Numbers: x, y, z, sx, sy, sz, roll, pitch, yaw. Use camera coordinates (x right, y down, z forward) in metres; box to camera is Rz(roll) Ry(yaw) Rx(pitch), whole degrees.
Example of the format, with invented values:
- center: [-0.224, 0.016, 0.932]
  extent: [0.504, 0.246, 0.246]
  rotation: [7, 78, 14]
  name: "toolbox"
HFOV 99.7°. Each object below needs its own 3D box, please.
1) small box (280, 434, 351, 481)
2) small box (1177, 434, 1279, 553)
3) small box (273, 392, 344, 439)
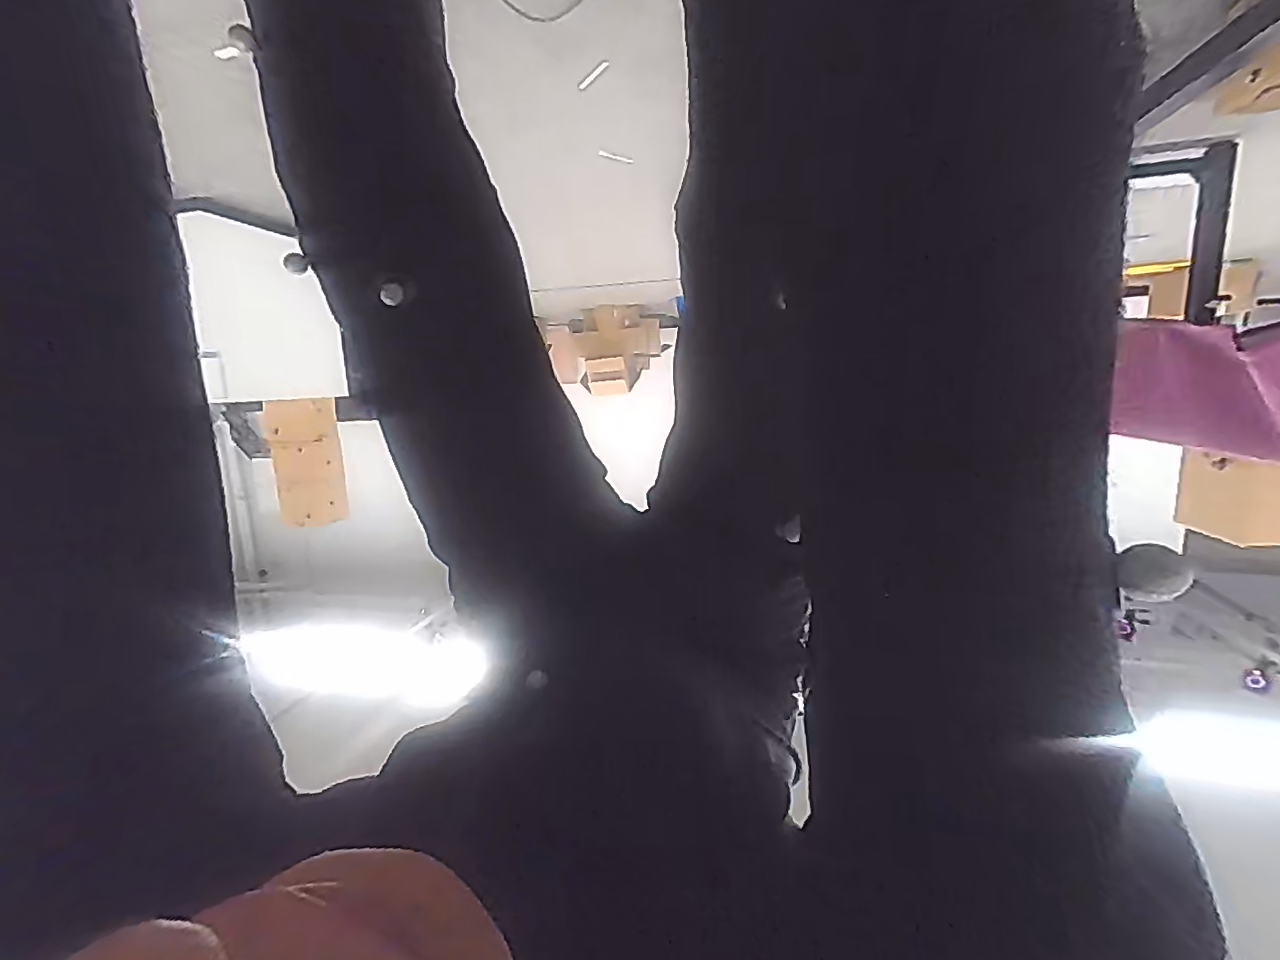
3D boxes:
- center: [-1.284, -0.093, 2.140]
  extent: [0.168, 0.176, 0.179]
  rotation: [1, -168, 13]
  name: "small box"
- center: [1.070, 0.016, 0.904]
  extent: [0.179, 0.176, 0.168]
  rotation: [0, -169, 14]
  name: "small box"
- center: [-1.295, -0.254, 2.109]
  extent: [0.179, 0.176, 0.168]
  rotation: [1, -169, 14]
  name: "small box"
